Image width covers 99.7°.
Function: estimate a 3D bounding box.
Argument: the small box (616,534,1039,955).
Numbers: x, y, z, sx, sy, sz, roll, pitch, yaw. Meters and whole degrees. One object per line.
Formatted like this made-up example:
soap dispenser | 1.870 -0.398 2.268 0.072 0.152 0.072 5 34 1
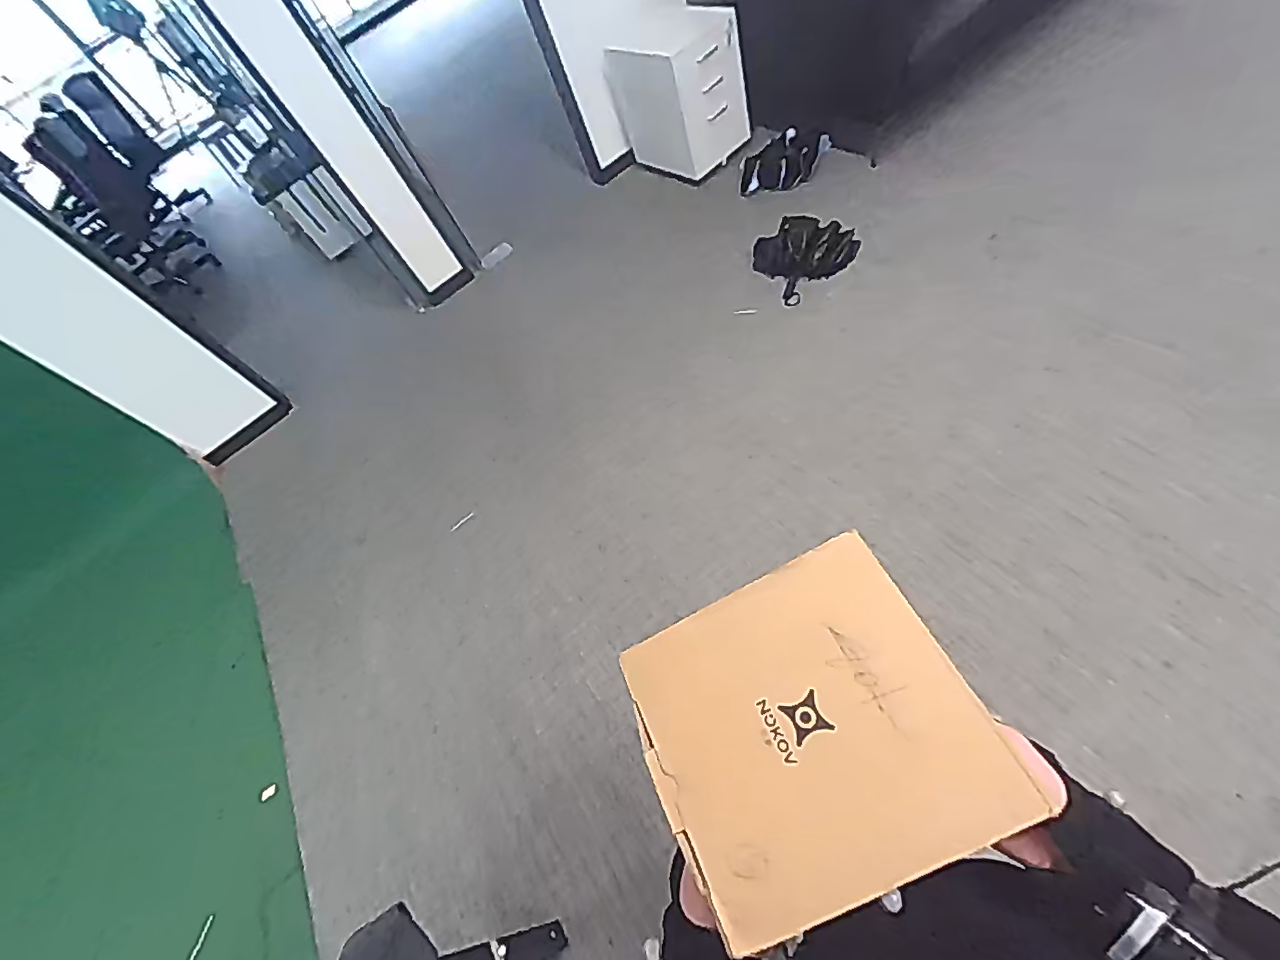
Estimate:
small box | 0.113 0.170 0.371 0.179 0.176 0.168 -30 58 5
